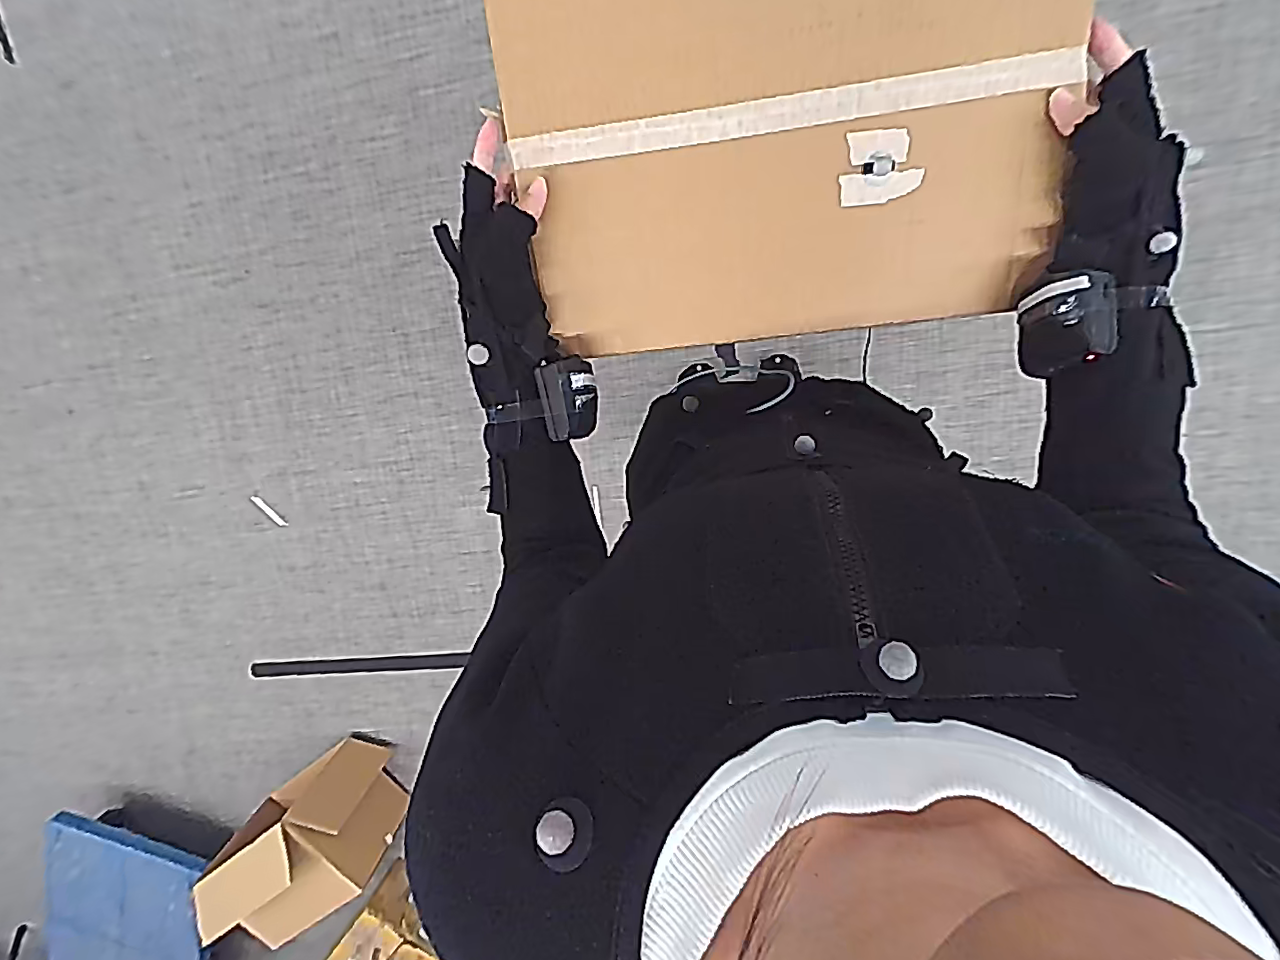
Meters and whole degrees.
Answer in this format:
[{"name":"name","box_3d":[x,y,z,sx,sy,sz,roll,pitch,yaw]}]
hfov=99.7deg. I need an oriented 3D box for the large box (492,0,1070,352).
[{"name":"large box","box_3d":[0.109,-0.323,0.543,0.408,0.320,0.320,-6,109,5]}]
